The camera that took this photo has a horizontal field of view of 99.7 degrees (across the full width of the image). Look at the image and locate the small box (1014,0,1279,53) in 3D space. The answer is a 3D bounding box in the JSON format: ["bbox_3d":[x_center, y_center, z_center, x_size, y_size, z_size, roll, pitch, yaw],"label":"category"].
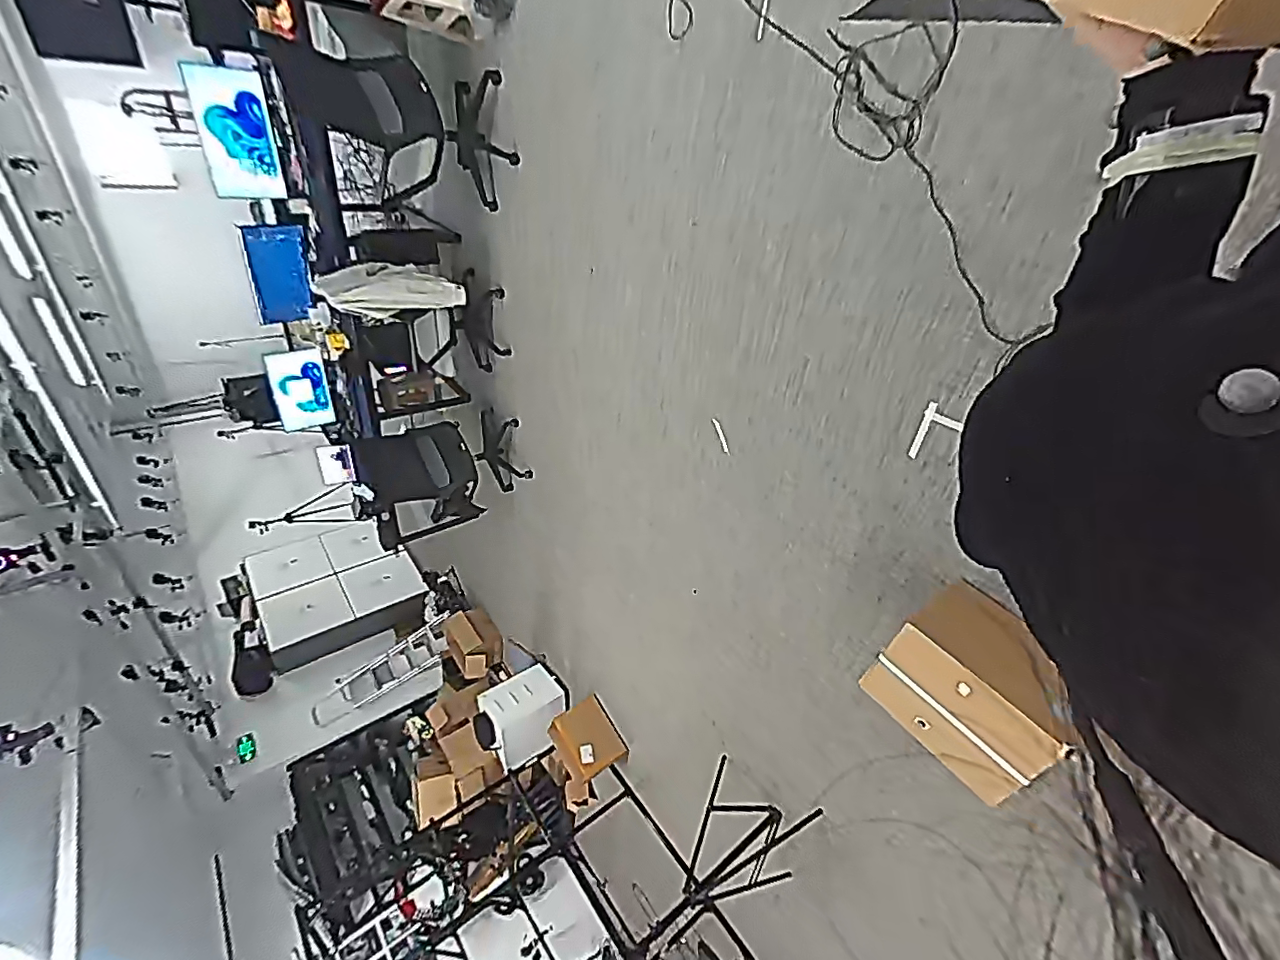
[{"bbox_3d":[0.271,-0.322,0.245,0.179,0.176,0.168,55,152,31],"label":"small box"}]
